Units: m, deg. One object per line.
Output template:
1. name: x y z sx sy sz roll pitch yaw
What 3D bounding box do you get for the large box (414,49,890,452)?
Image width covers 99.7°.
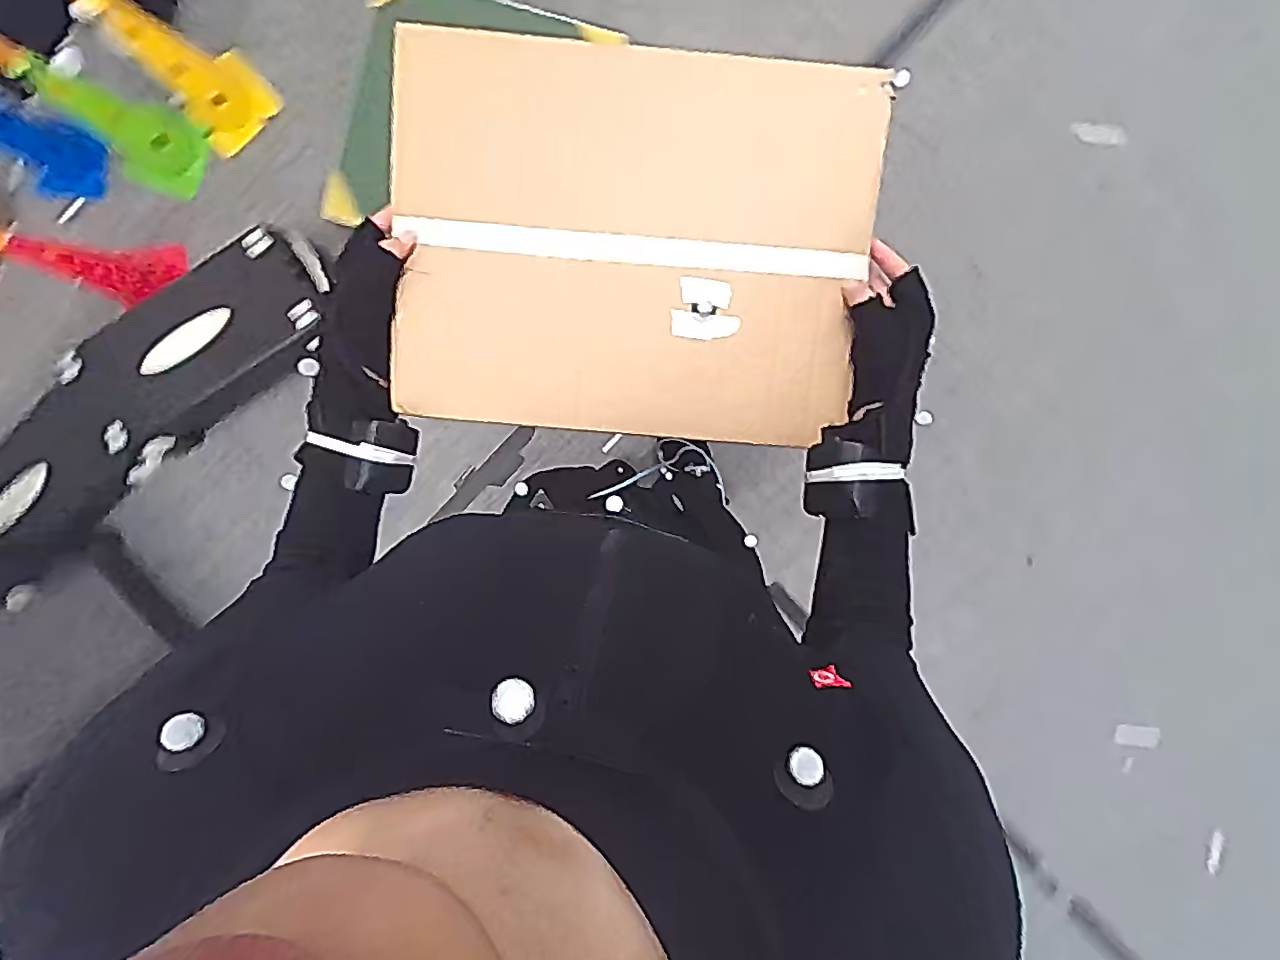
1. large box: -0.001 -0.215 0.624 0.408 0.320 0.320 6 100 -2
